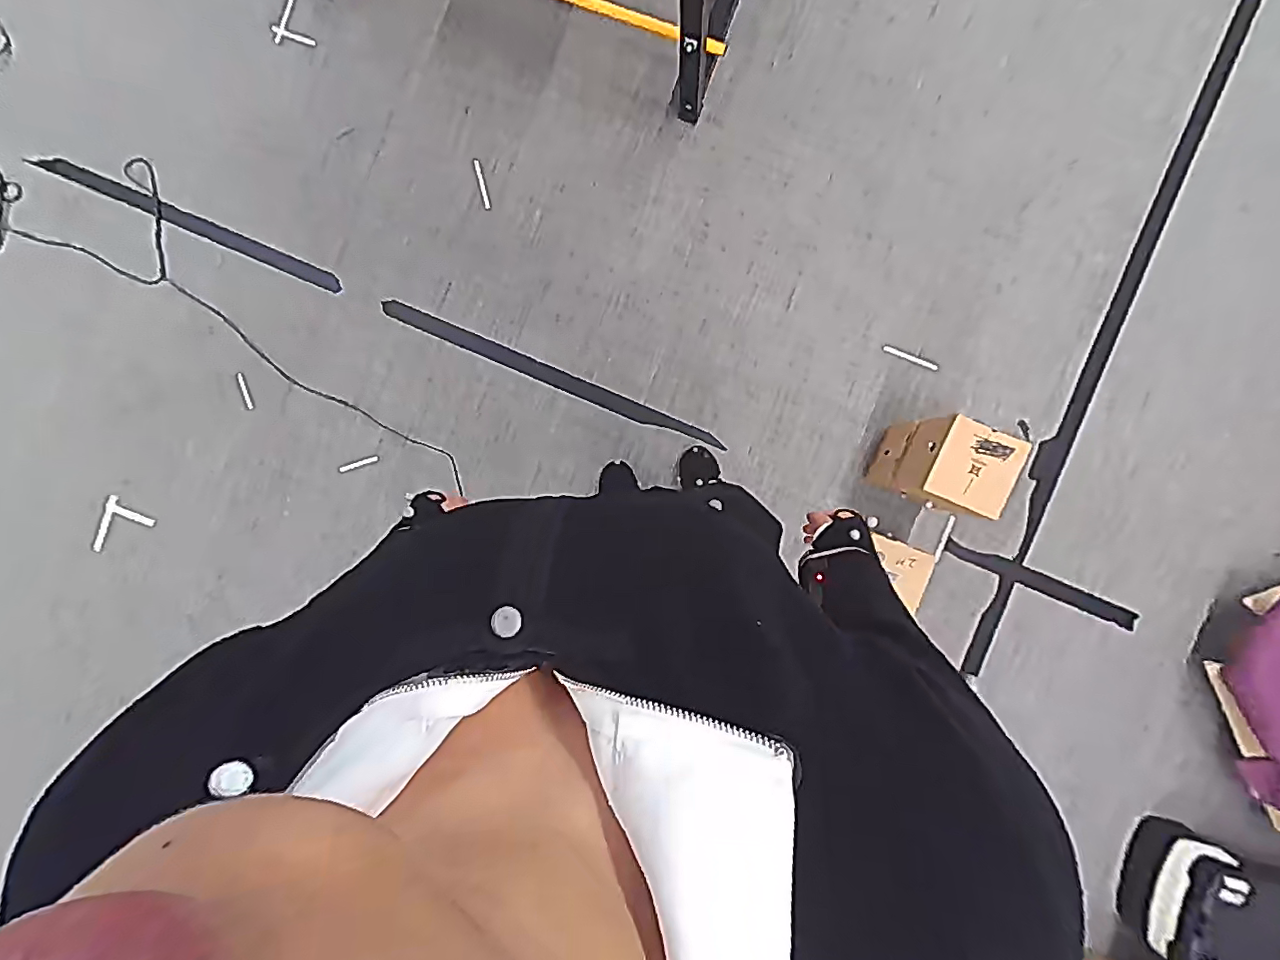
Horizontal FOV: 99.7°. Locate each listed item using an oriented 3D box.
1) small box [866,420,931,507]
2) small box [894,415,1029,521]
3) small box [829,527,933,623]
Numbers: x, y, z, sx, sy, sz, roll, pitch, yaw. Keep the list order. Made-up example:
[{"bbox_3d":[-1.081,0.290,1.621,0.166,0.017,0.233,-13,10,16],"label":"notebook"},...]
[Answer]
[{"bbox_3d":[0.701,-0.034,1.363,0.179,0.176,0.168,25,92,3],"label":"small box"},{"bbox_3d":[0.697,-0.027,1.197,0.168,0.176,0.179,24,93,3],"label":"small box"},{"bbox_3d":[0.600,0.234,1.374,0.168,0.176,0.179,21,92,3],"label":"small box"}]
